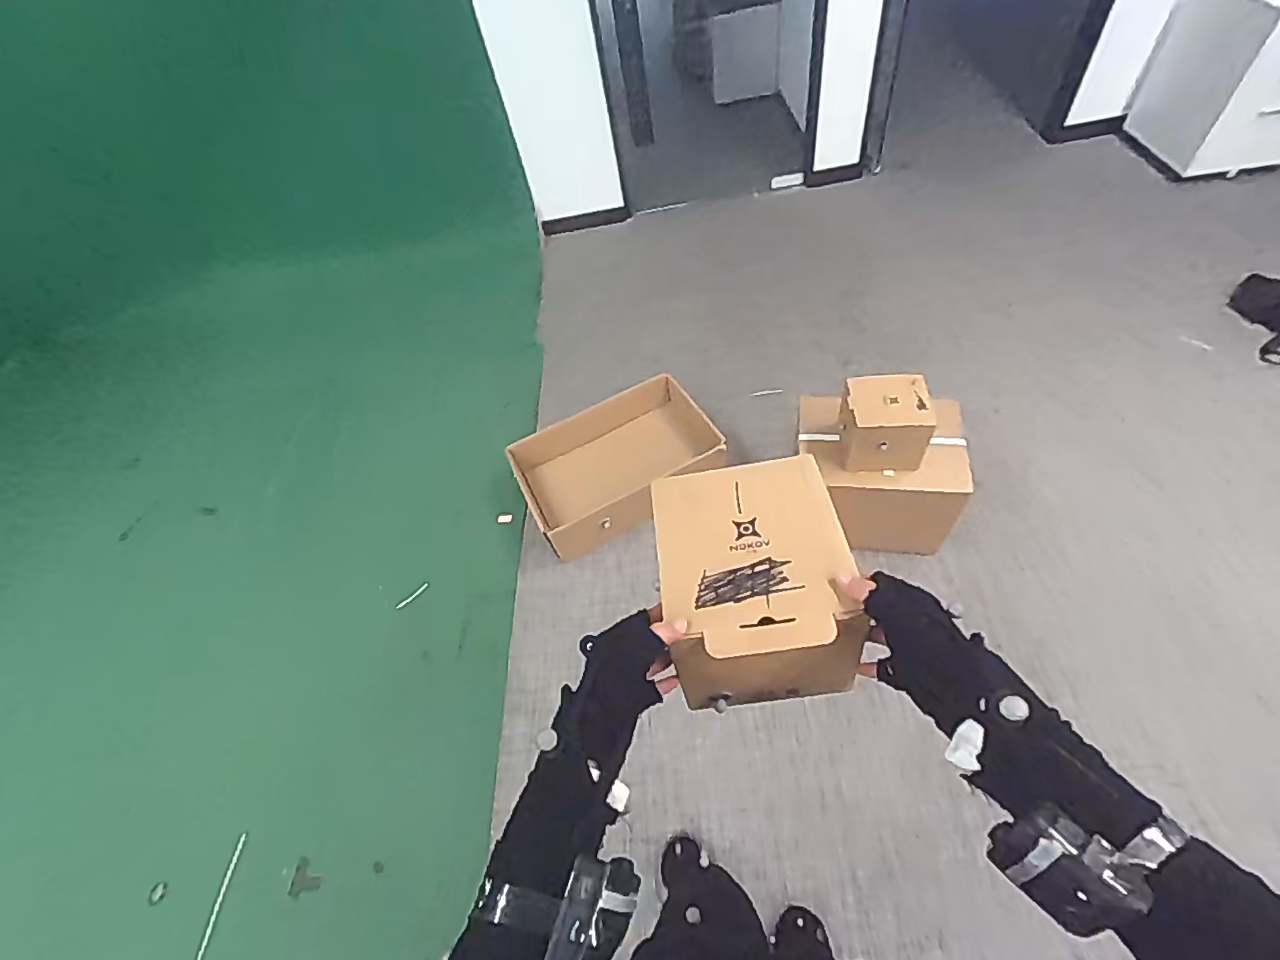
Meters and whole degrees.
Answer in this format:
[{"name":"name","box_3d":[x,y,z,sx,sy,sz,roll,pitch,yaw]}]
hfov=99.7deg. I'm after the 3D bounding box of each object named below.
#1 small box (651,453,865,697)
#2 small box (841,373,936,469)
[{"name":"small box","box_3d":[0.111,0.103,0.545,0.168,0.176,0.179,-10,46,6]},{"name":"small box","box_3d":[0.595,-0.140,1.324,0.179,0.176,0.168,-2,54,11]}]
